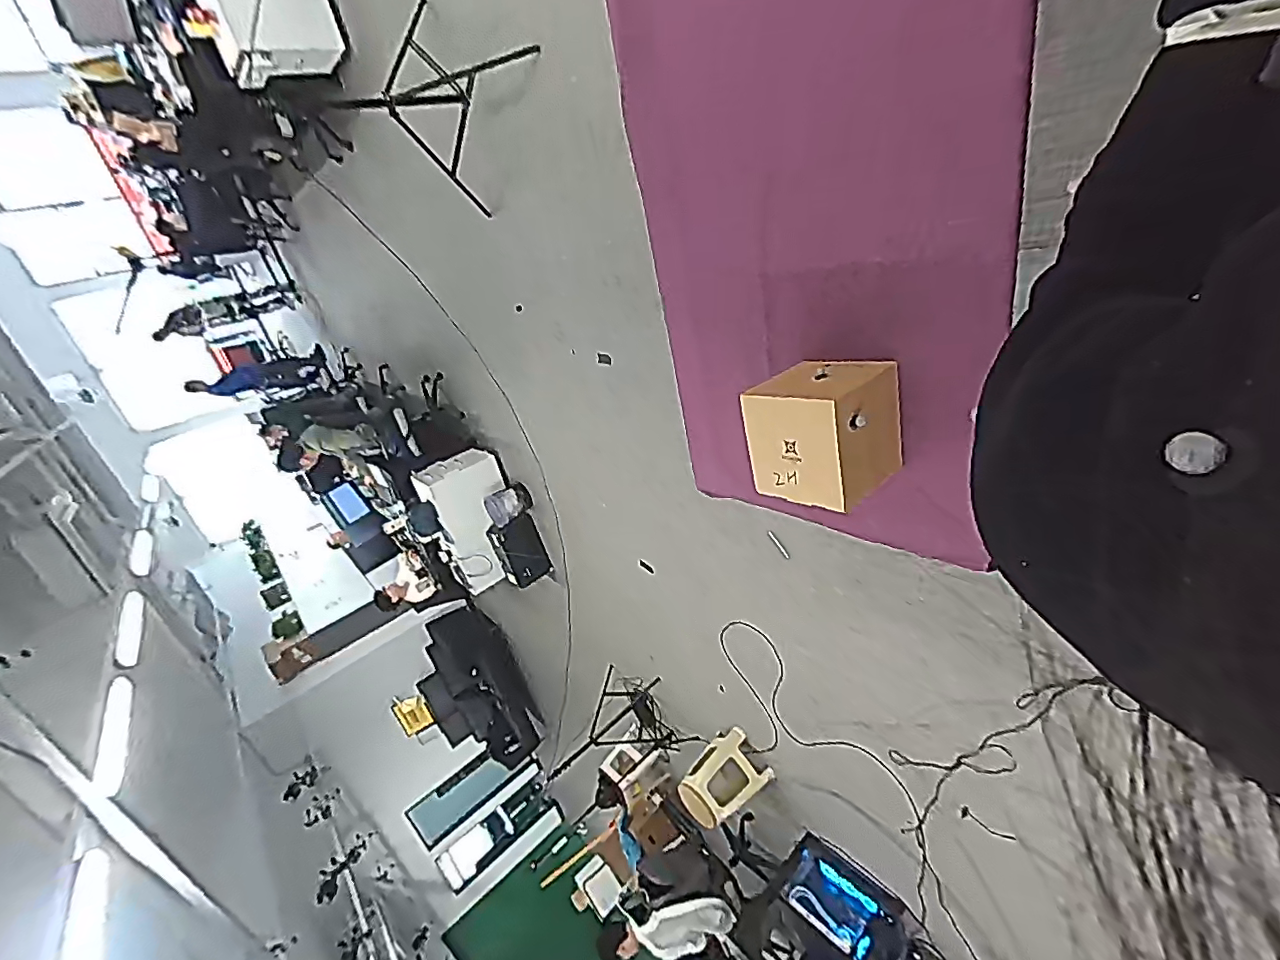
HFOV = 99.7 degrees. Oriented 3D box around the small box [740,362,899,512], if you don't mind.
[{"bbox_3d":[0.283,-0.079,0.843,0.168,0.176,0.179,16,128,51],"label":"small box"}]
